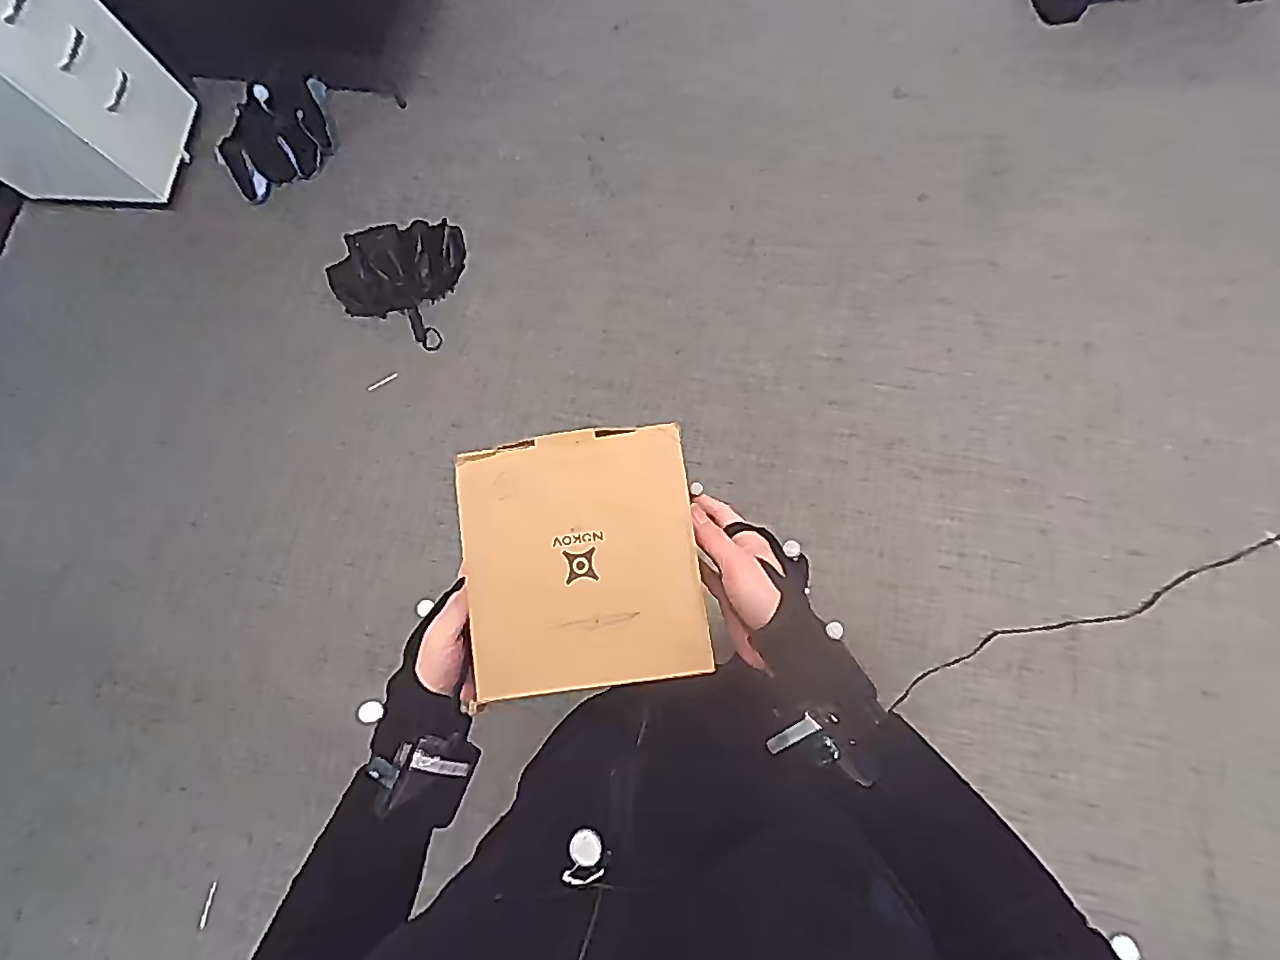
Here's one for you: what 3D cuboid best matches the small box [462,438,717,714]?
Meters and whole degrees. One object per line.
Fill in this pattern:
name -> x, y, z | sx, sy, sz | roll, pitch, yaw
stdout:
small box -> -0.034, 0.074, 0.455 | 0.168, 0.176, 0.179 | -8, 84, 3
